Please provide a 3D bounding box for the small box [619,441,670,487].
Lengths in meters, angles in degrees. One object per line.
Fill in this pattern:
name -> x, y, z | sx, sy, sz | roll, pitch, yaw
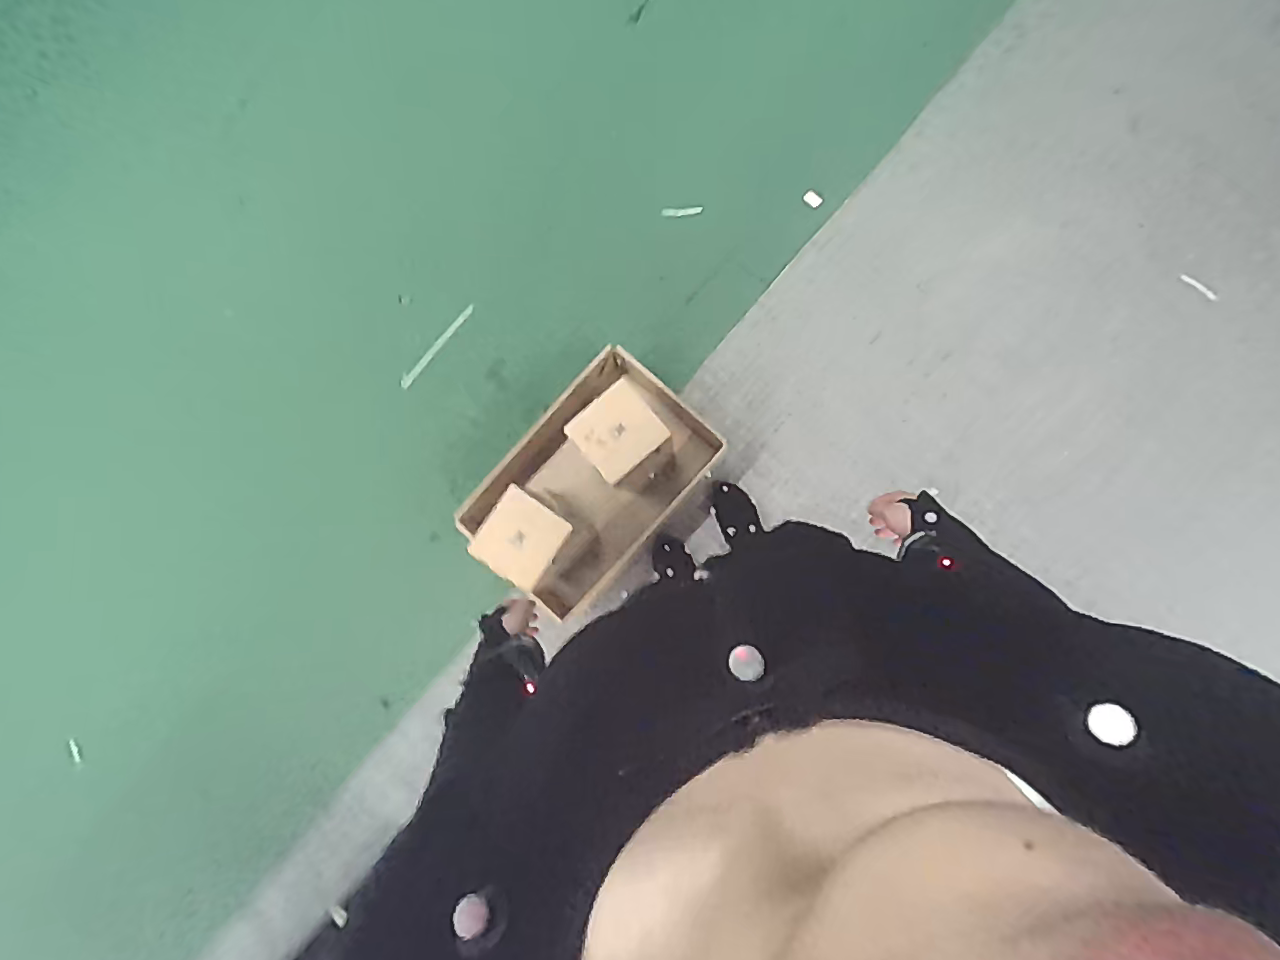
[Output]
small box -> -0.039, -0.094, 1.389 | 0.168, 0.176, 0.179 | -42, 86, 1

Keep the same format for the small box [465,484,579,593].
small box -> -0.254, 0.131, 1.219 | 0.168, 0.176, 0.179 | 34, 86, 5

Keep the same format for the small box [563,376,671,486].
small box -> -0.047, -0.103, 1.225 | 0.179, 0.176, 0.168 | -41, 84, 1
